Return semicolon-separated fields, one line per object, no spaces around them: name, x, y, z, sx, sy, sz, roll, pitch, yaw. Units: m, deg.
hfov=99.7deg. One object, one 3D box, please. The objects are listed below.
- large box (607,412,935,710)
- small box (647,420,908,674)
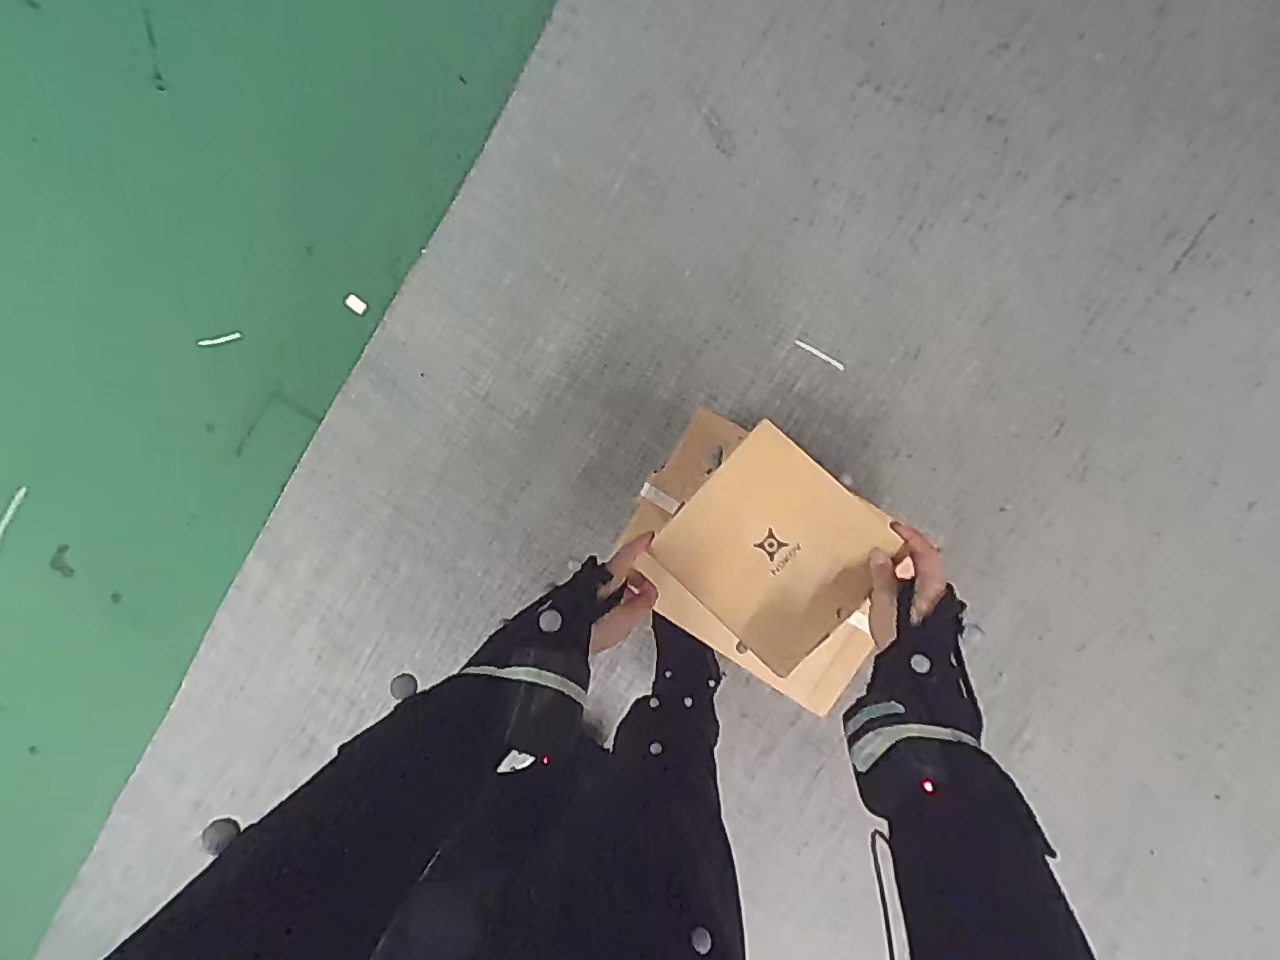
large box;0.207;0.118;0.969;0.408;0.320;0.320;31;96;7
small box;0.131;0.061;0.569;0.179;0.176;0.168;43;96;5
